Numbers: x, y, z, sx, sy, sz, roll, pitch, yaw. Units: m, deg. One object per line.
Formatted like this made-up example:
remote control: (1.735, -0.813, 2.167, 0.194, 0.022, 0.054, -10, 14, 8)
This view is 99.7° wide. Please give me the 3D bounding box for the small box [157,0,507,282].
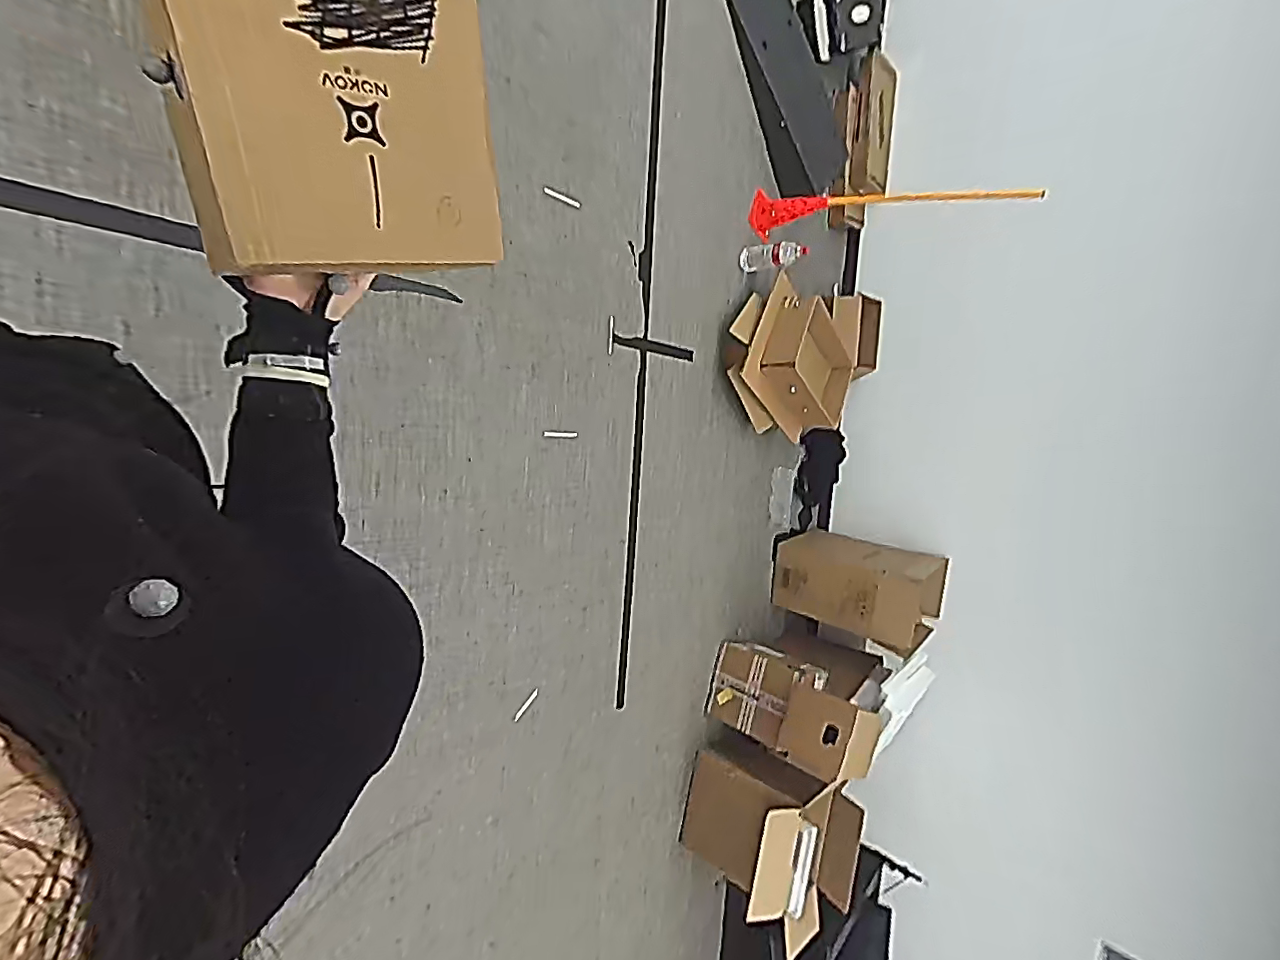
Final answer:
small box: (-0.217, -0.239, 0.387, 0.168, 0.176, 0.179, -18, 116, -37)
